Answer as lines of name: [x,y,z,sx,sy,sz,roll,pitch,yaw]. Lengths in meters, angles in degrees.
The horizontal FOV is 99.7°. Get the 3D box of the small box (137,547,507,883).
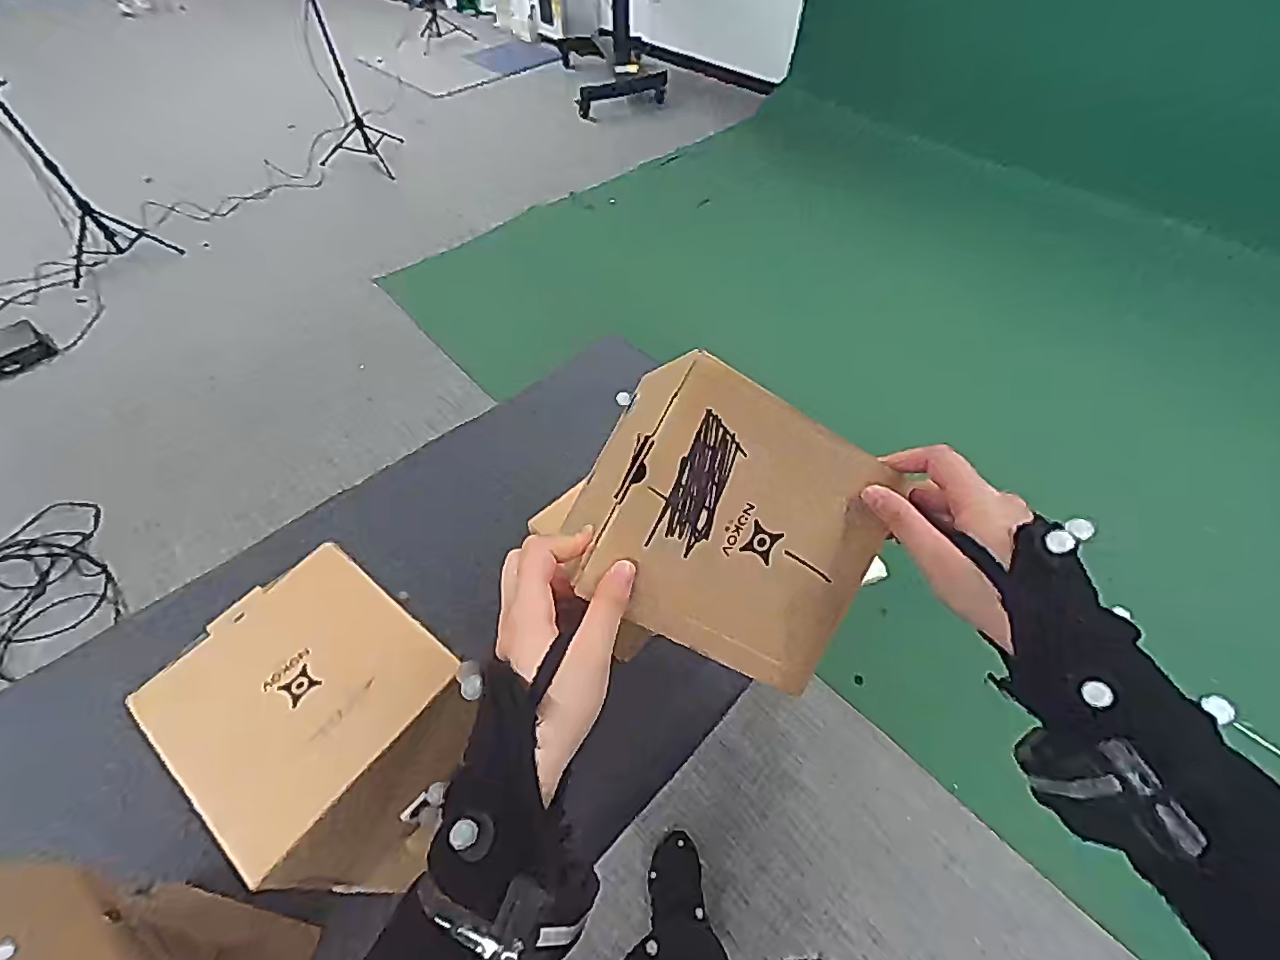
small box: [-0.239,0.196,0.450,0.179,0.176,0.168,32,61,22]

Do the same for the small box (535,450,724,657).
small box: [-0.012,0.099,0.721,0.168,0.176,0.179,38,63,26]

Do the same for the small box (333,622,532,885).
small box: [-0.240,0.294,0.580,0.168,0.176,0.179,-36,60,-22]
